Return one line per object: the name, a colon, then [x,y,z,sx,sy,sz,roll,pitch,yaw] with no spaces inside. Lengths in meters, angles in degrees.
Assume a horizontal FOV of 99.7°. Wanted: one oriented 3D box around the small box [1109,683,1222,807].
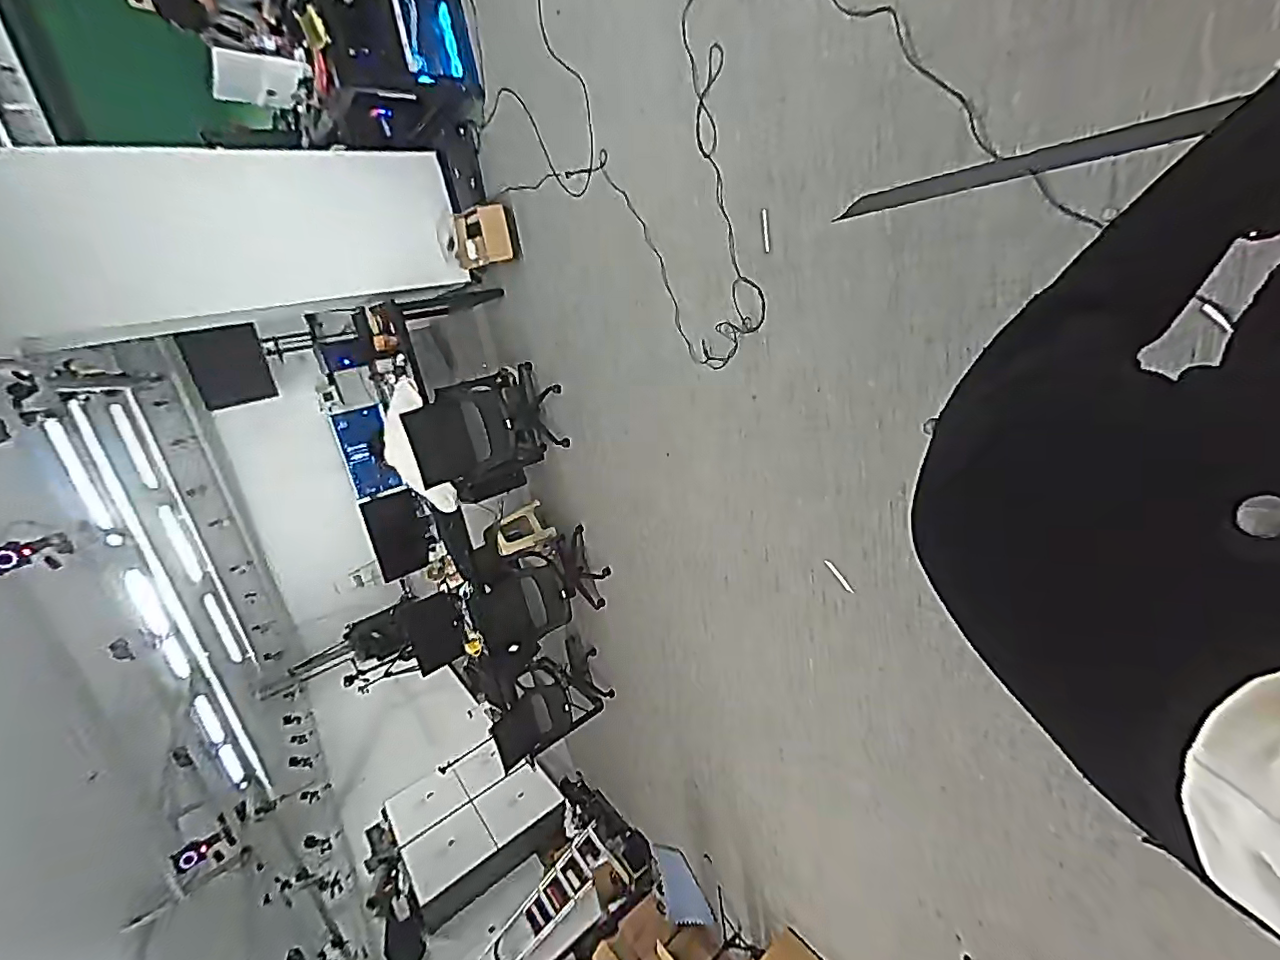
small box: [1.288,0.640,1.326,0.168,0.176,0.179,13,117,51]
